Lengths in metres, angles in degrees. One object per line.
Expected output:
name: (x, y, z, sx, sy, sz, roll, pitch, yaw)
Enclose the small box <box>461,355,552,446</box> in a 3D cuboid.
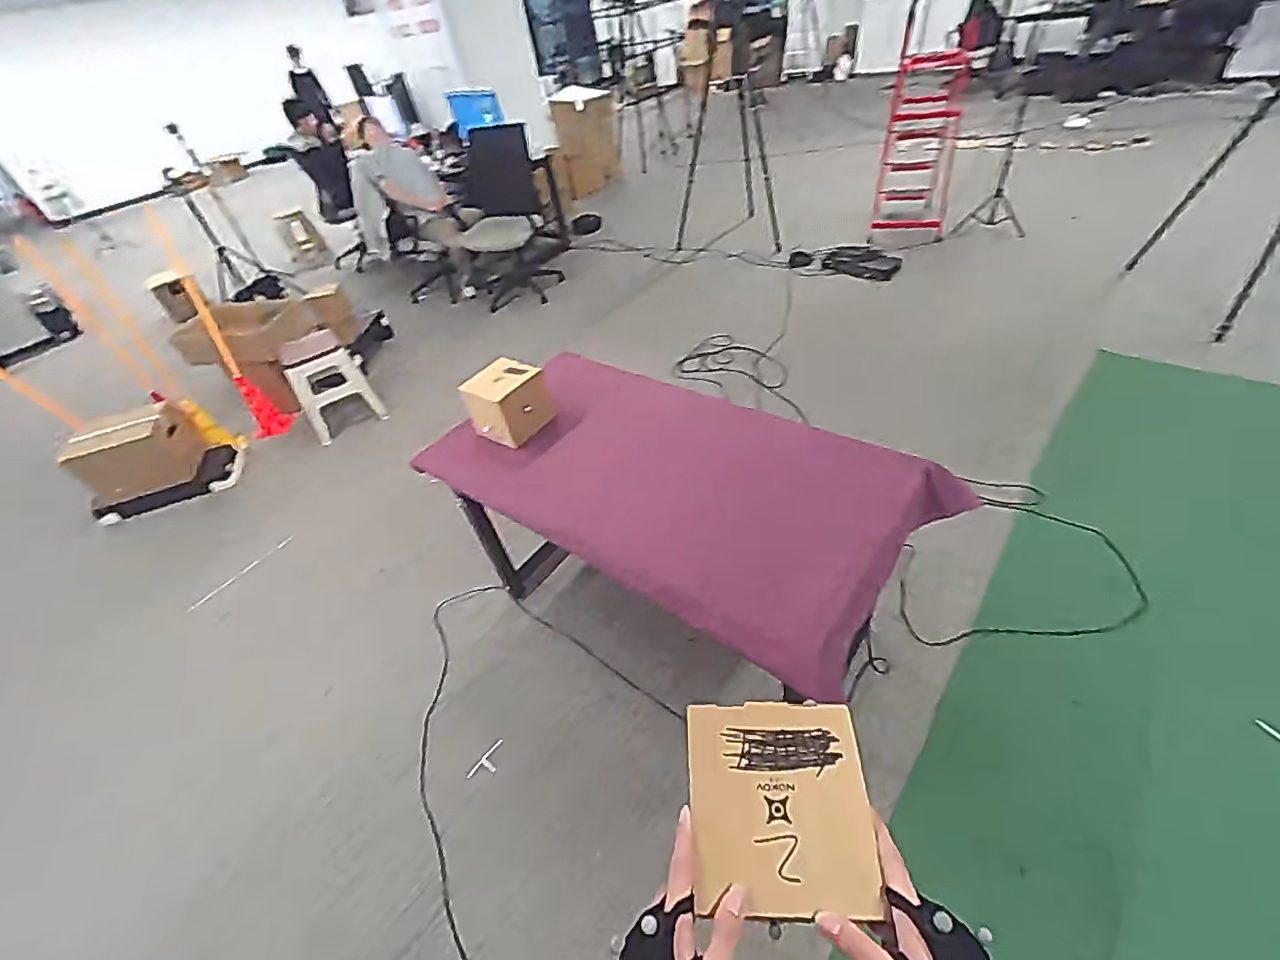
small box: (-0.374, -0.229, 1.555, 0.168, 0.176, 0.179, 22, 52, 30)
